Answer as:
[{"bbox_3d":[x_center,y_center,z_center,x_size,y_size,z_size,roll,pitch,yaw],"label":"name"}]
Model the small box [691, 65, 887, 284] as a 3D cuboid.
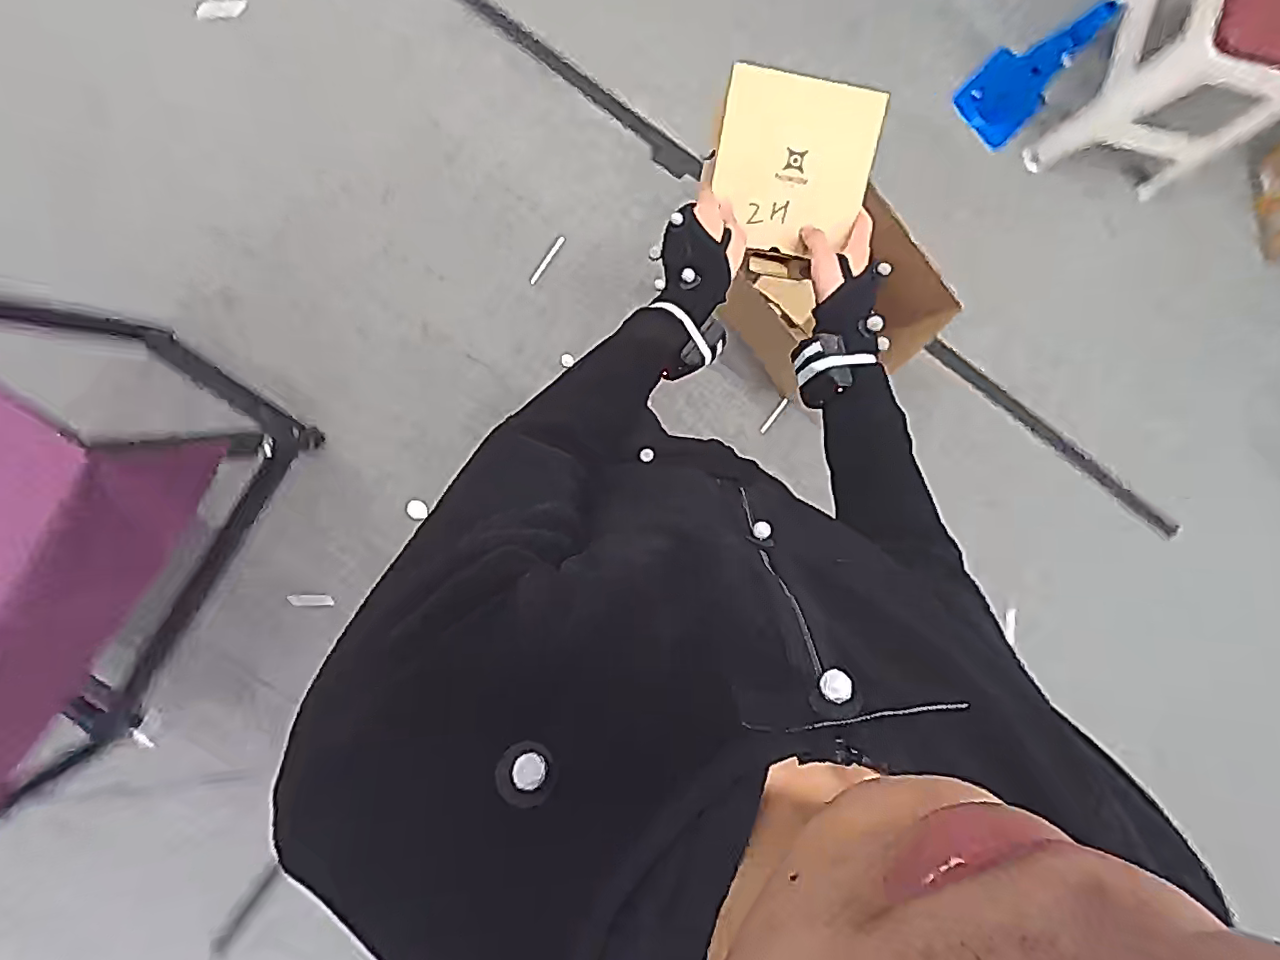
[{"bbox_3d":[0.160,-0.345,0.648,0.168,0.176,0.179,9,105,-3],"label":"small box"}]
